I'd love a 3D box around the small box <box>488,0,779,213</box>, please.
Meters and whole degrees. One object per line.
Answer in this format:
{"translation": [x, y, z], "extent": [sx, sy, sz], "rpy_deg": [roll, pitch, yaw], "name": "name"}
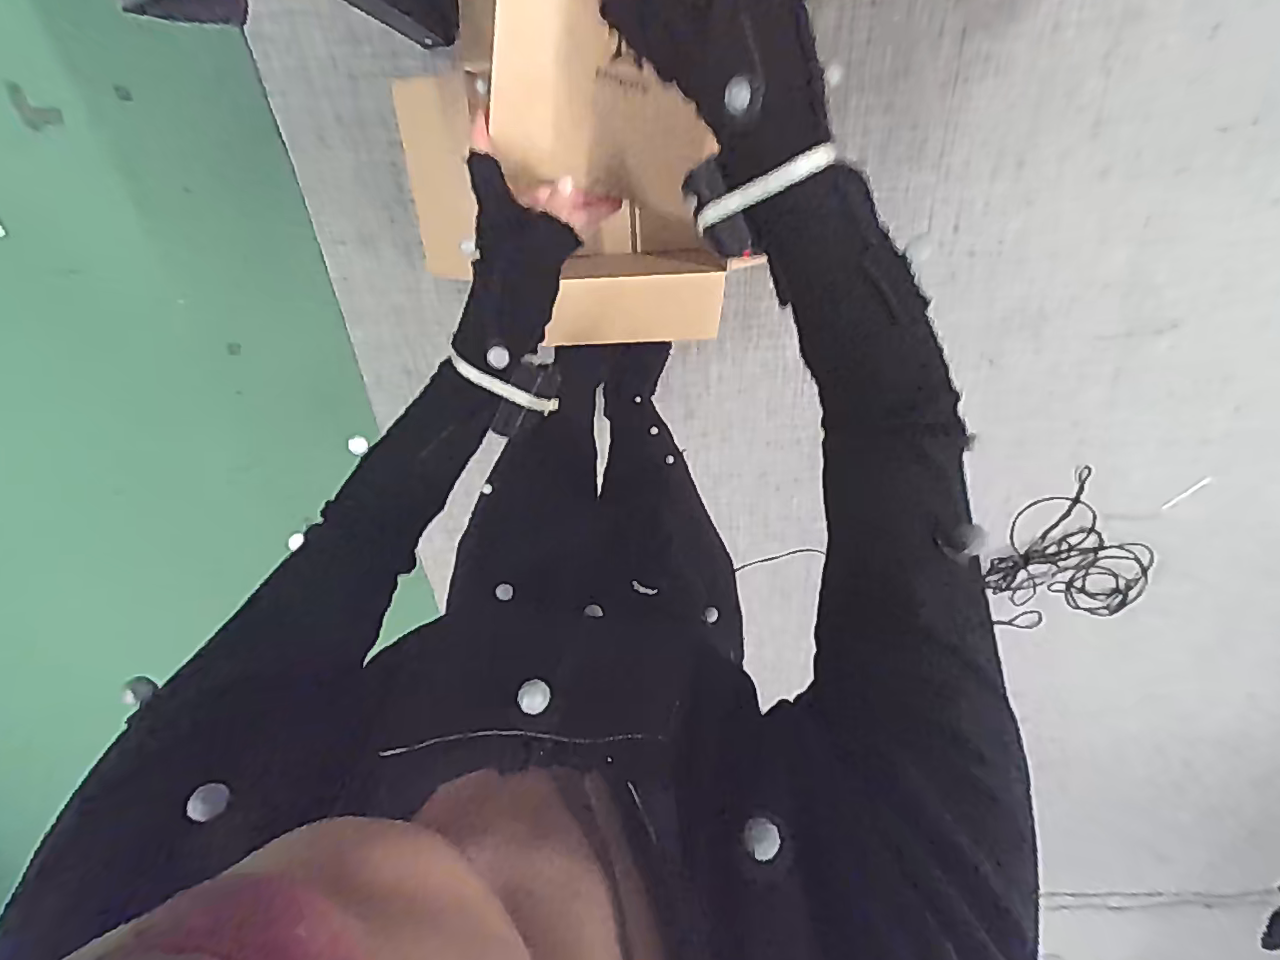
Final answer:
{"translation": [-0.009, -0.331, 0.386], "extent": [0.168, 0.176, 0.179], "rpy_deg": [9, 139, -12], "name": "small box"}
